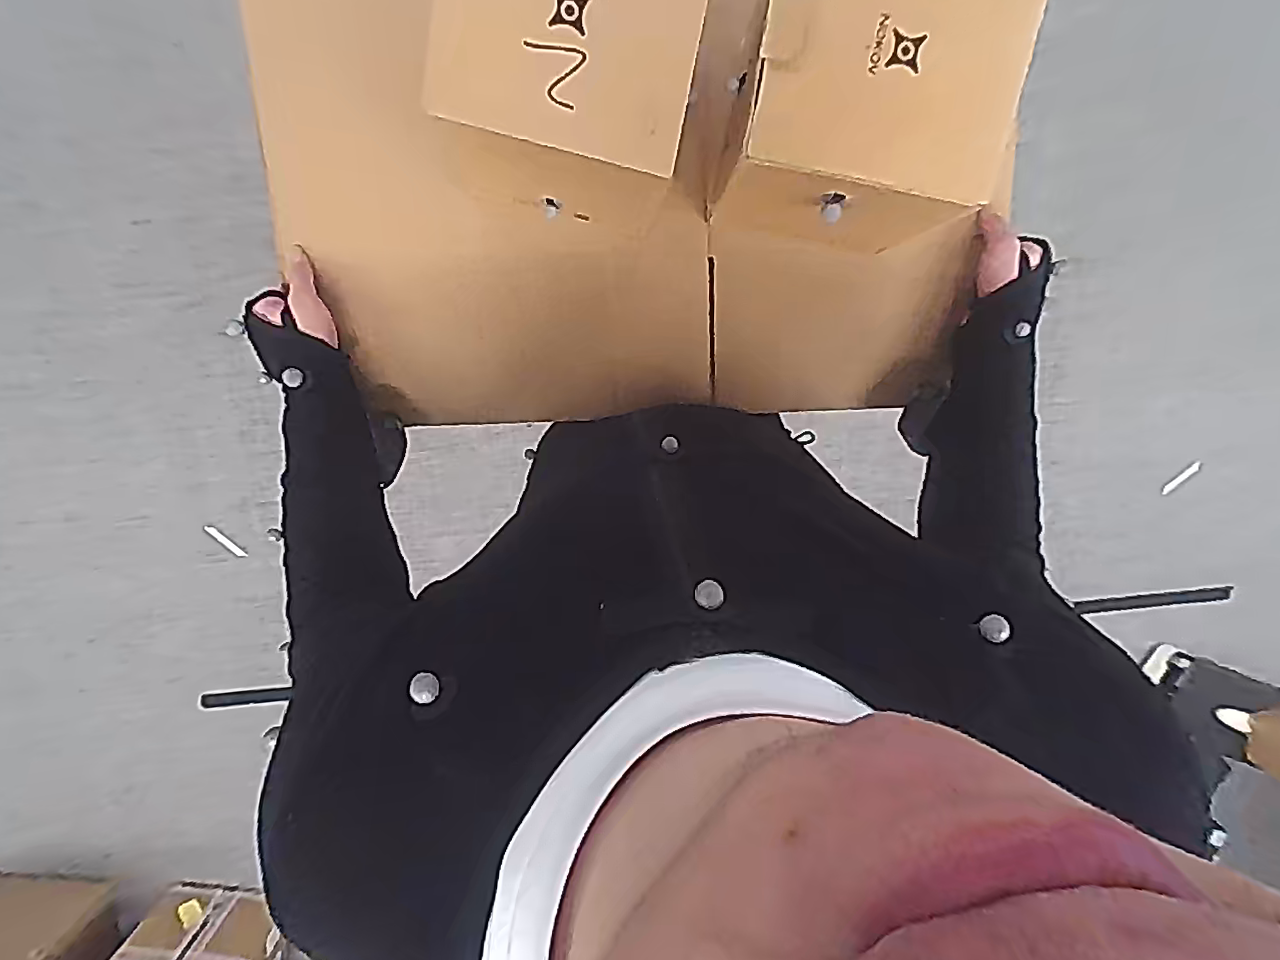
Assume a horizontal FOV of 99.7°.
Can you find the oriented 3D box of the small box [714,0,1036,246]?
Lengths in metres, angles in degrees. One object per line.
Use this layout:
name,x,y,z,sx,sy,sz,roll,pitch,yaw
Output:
small box,0.170,-0.305,0.445,0.179,0.176,0.168,10,101,-2
